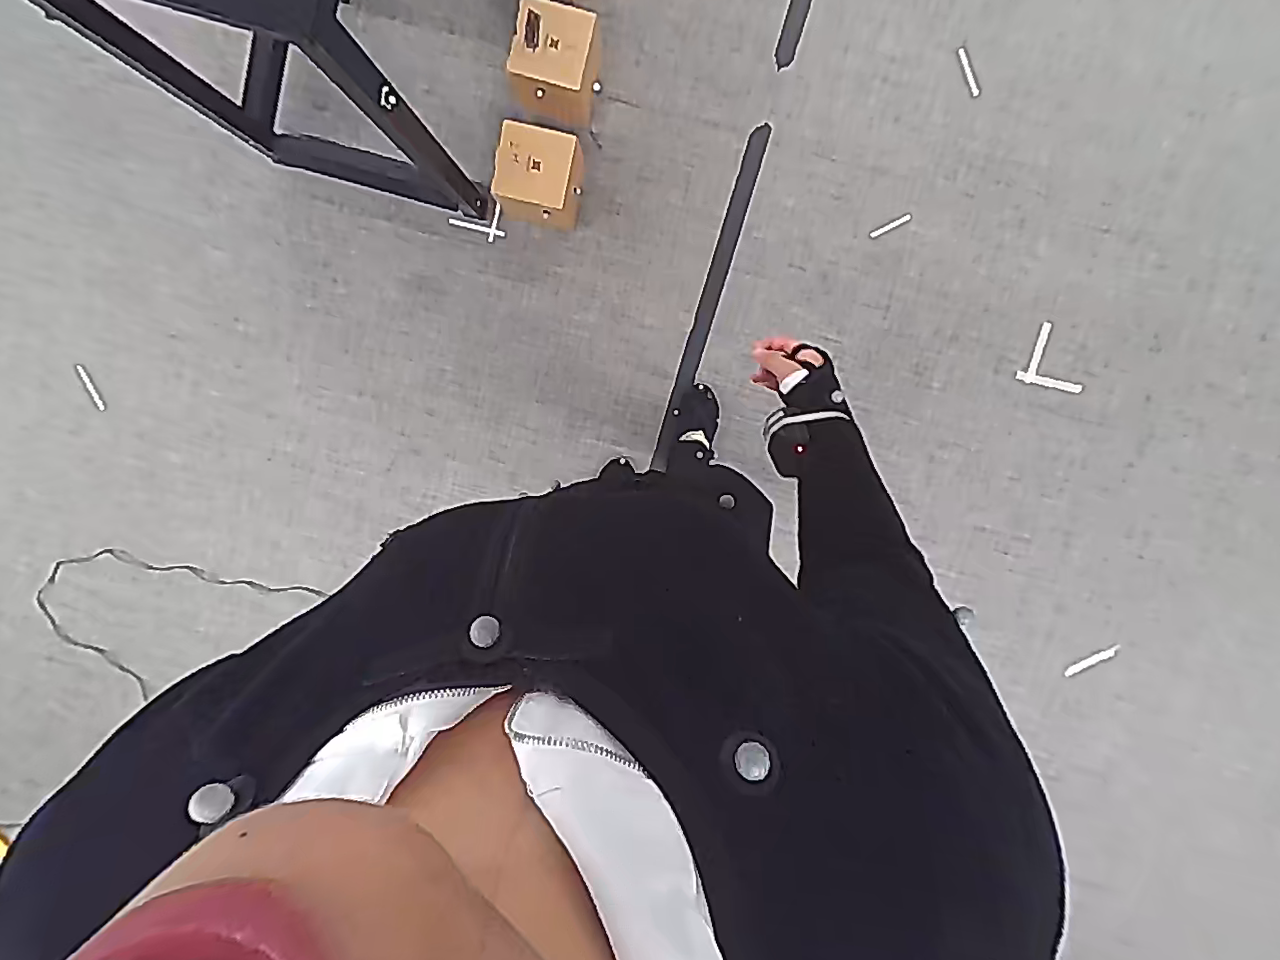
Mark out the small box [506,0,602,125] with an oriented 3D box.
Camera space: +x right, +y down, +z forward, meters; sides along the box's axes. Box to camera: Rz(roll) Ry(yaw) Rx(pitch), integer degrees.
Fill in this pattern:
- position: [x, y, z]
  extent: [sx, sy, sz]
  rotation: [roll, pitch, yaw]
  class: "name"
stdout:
- position: [-0.199, -0.991, 1.294]
  extent: [0.179, 0.176, 0.168]
  rotation: [15, 98, -1]
  class: "small box"
